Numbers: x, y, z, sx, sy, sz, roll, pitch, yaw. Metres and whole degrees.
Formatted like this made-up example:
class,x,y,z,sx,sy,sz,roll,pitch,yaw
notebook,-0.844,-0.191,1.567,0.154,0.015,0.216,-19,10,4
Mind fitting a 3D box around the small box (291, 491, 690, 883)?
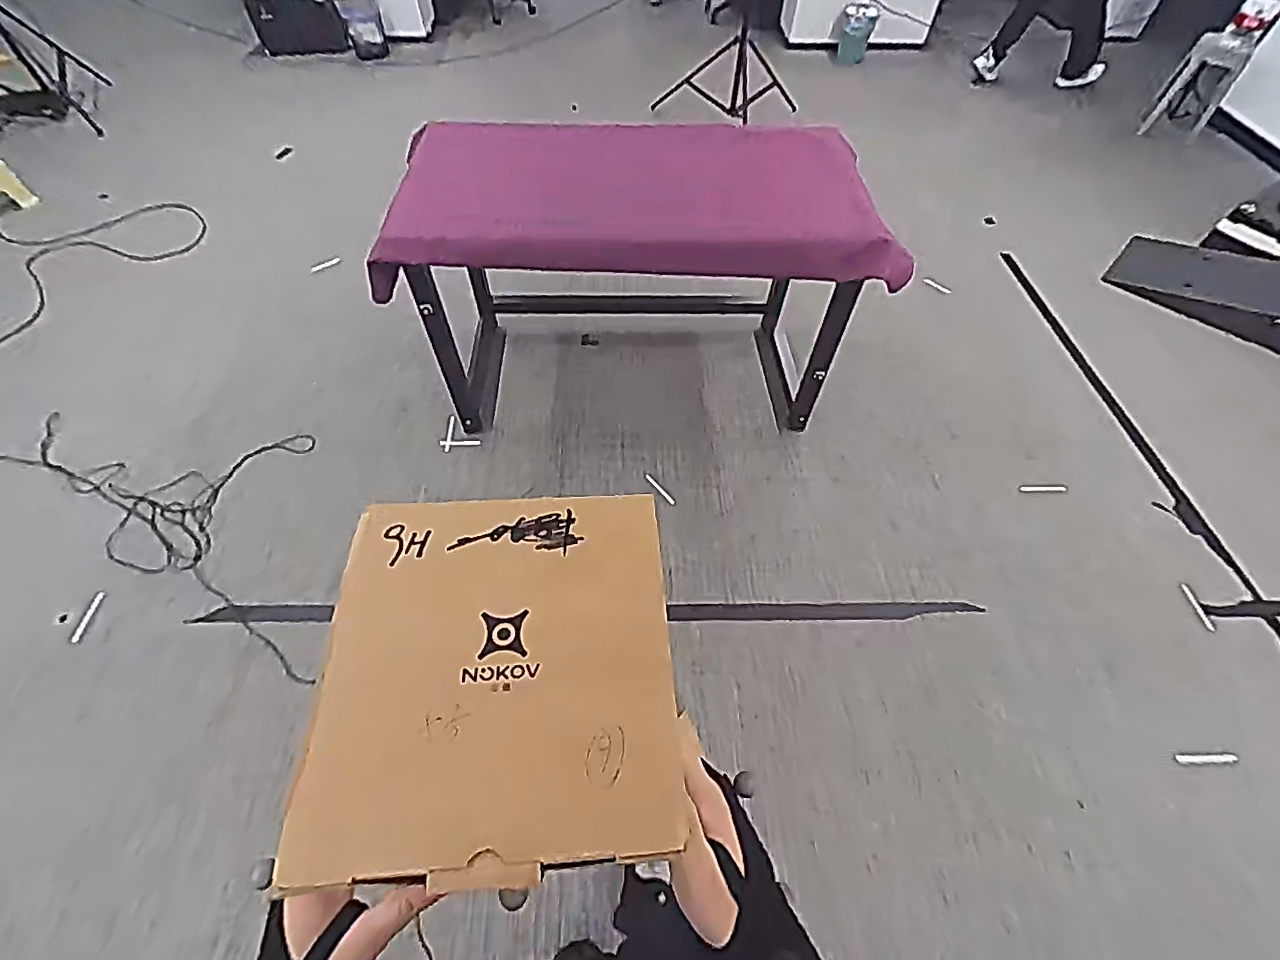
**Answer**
class,x,y,z,sx,sy,sz,roll,pitch,yaw
small box,-0.067,0.125,0.330,0.168,0.176,0.179,-2,57,-5
